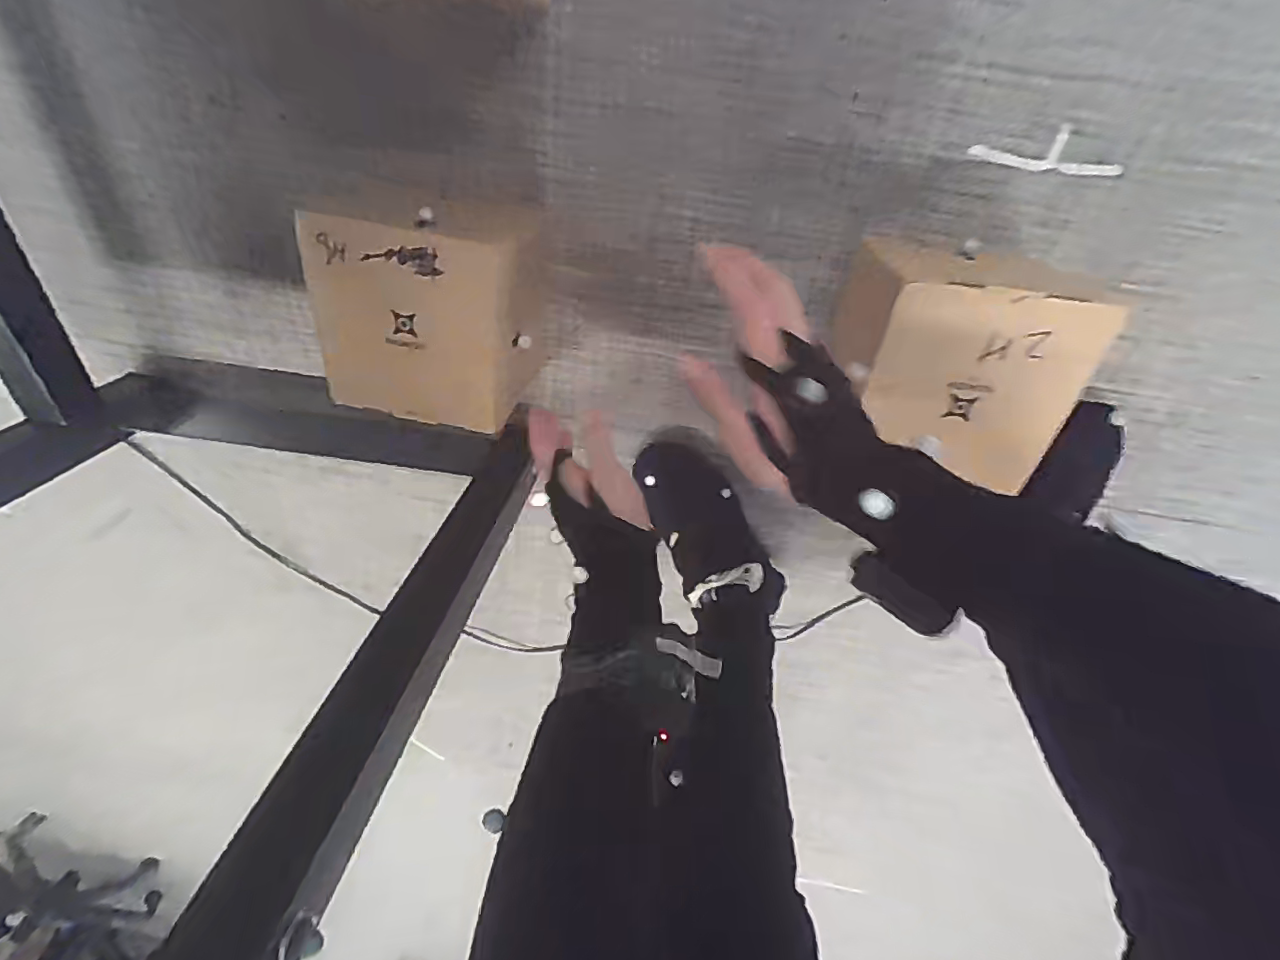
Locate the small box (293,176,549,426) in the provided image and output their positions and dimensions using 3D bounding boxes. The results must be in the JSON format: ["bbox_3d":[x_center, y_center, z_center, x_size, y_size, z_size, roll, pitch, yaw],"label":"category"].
[{"bbox_3d":[-0.193,-0.181,0.532,0.168,0.176,0.179,11,124,1],"label":"small box"}]
